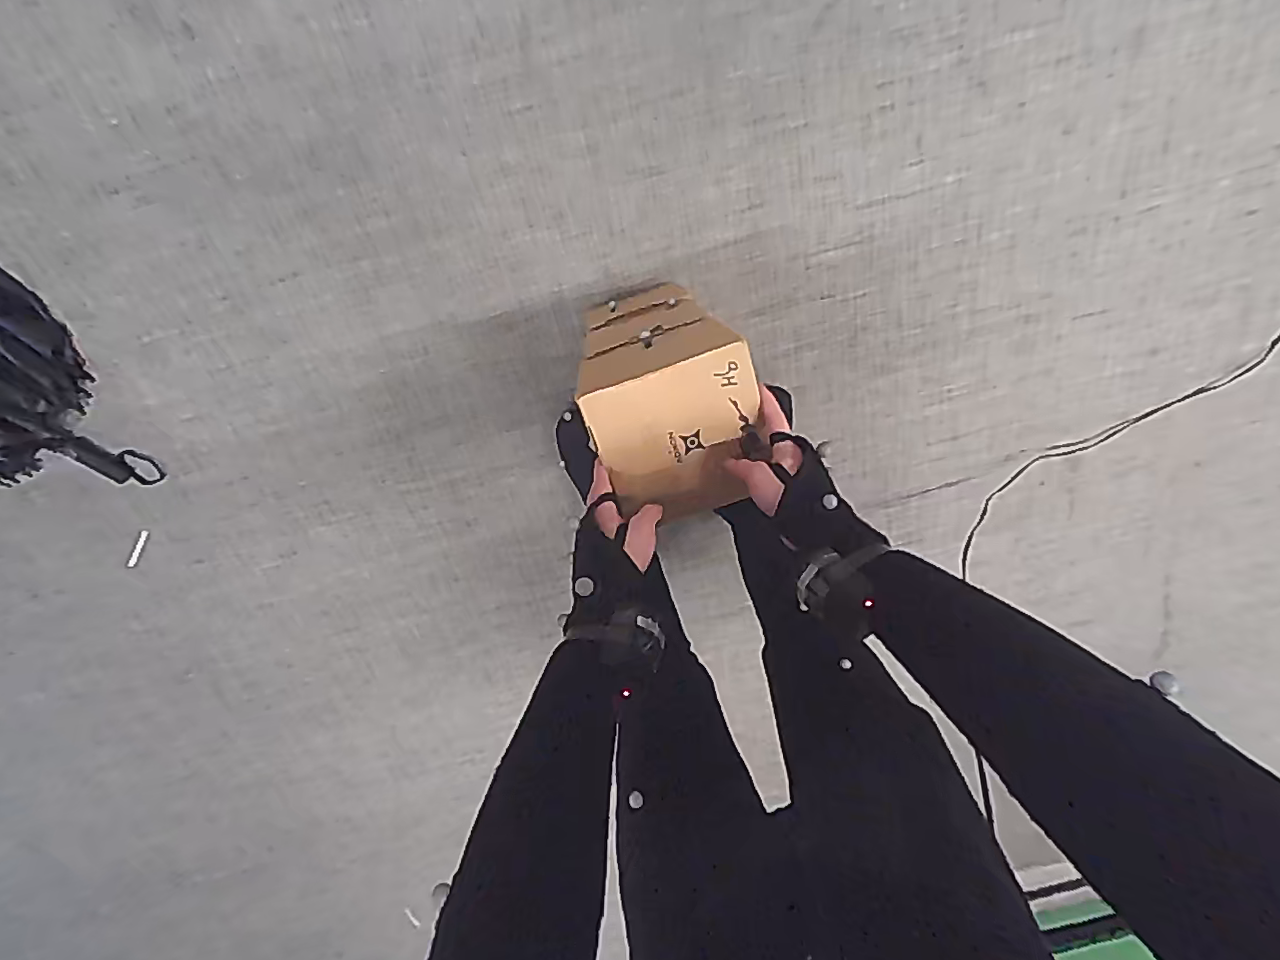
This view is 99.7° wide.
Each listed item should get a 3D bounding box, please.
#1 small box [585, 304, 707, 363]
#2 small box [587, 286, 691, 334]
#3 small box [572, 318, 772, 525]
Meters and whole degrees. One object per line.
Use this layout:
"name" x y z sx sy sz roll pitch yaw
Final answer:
"small box" 0.024 -0.144 0.784 0.168 0.176 0.179 -17 116 5
"small box" 0.013 -0.222 0.928 0.168 0.176 0.179 -17 117 5
"small box" 0.034 -0.076 0.632 0.179 0.176 0.168 -18 114 4
